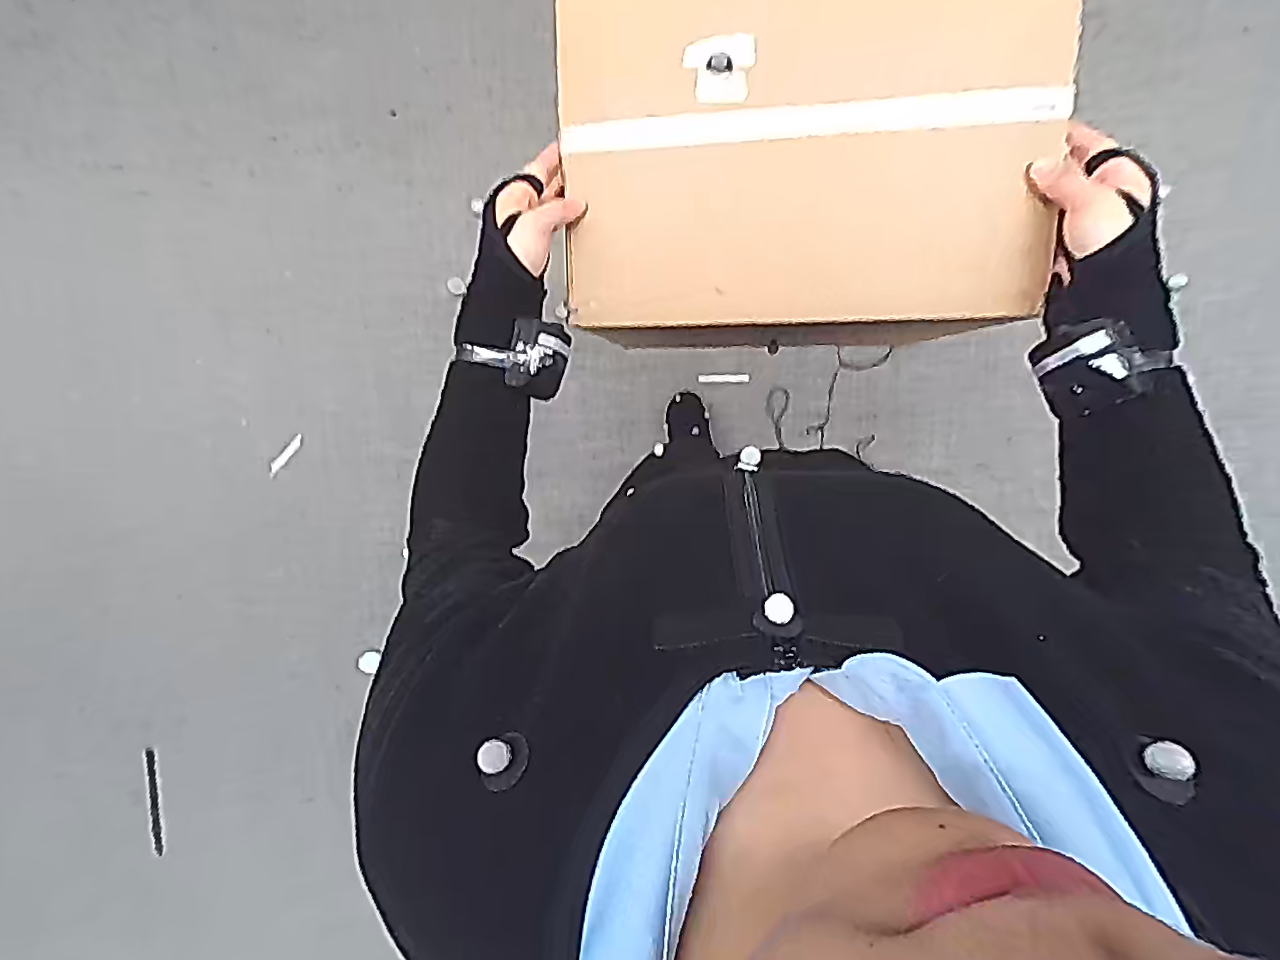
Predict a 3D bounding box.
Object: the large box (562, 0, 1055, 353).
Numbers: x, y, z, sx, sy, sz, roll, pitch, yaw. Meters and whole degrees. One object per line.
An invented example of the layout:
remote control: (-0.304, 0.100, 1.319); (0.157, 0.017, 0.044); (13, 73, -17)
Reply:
large box: (0.154, -0.317, 0.610); (0.408, 0.320, 0.320); (0, 98, 8)
